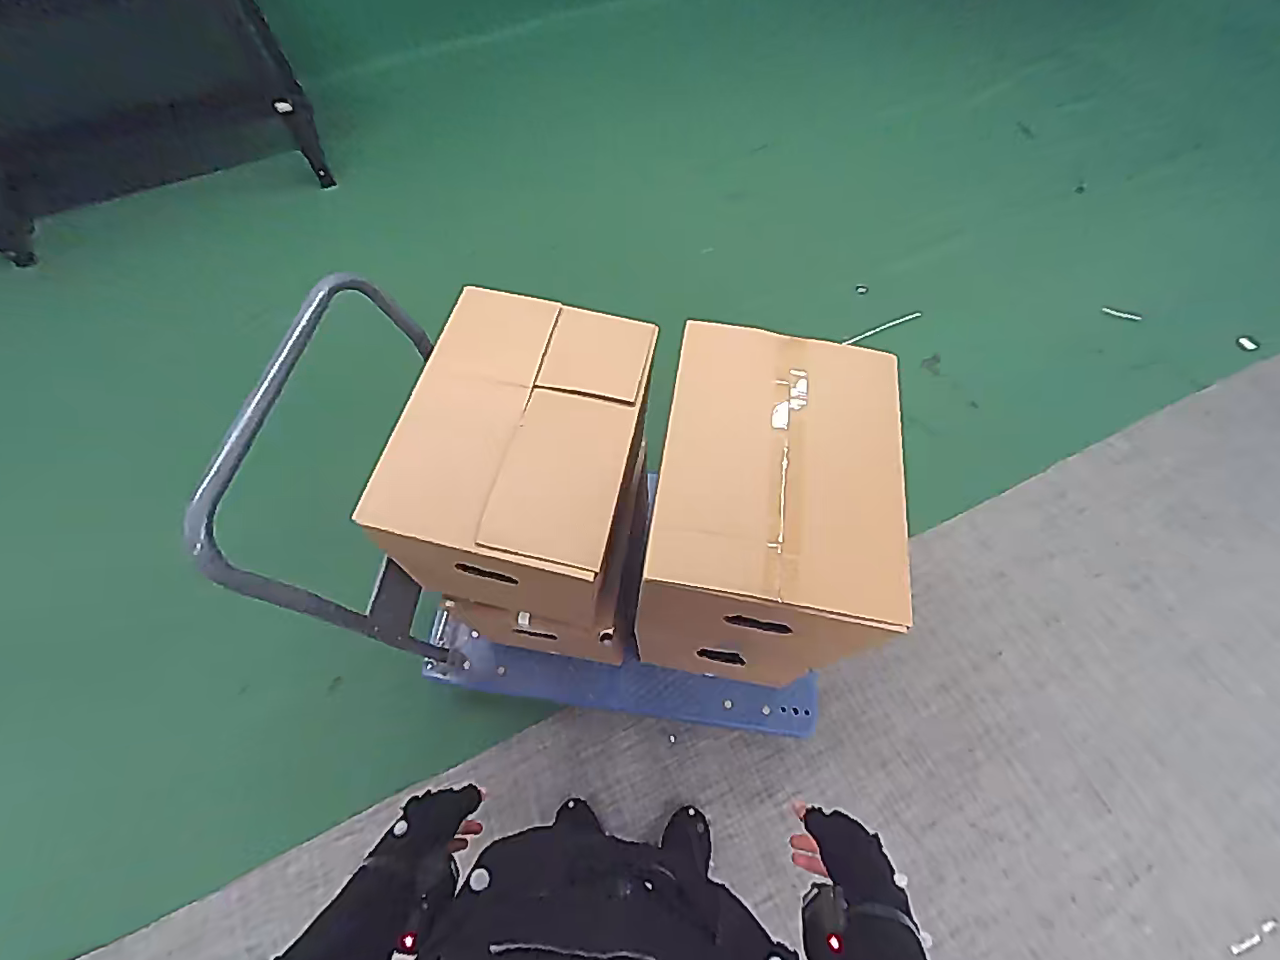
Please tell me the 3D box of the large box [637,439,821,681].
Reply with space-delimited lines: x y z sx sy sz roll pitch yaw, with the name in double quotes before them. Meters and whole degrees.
"large box" 0.181 0.174 1.131 0.320 0.320 0.408 7 65 8
